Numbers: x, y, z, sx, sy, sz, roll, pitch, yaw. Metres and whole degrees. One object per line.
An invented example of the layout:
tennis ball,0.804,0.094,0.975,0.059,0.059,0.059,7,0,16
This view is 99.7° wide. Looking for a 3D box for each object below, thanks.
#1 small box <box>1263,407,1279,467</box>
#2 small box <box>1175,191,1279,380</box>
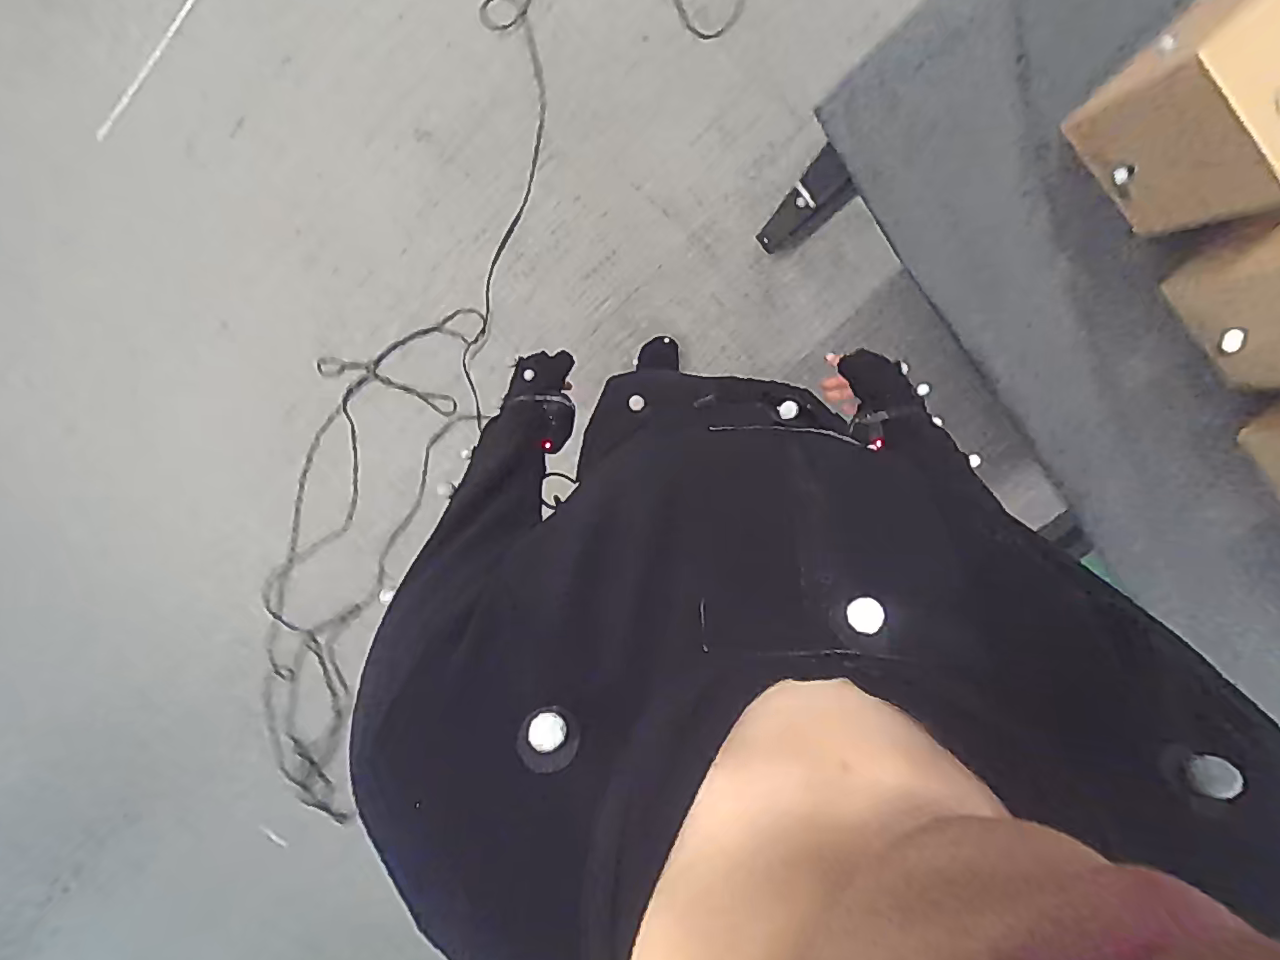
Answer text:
small box,0.873,-0.042,0.597,0.179,0.176,0.168,-43,98,10
small box,0.740,-0.219,0.559,0.179,0.176,0.168,-43,97,11
